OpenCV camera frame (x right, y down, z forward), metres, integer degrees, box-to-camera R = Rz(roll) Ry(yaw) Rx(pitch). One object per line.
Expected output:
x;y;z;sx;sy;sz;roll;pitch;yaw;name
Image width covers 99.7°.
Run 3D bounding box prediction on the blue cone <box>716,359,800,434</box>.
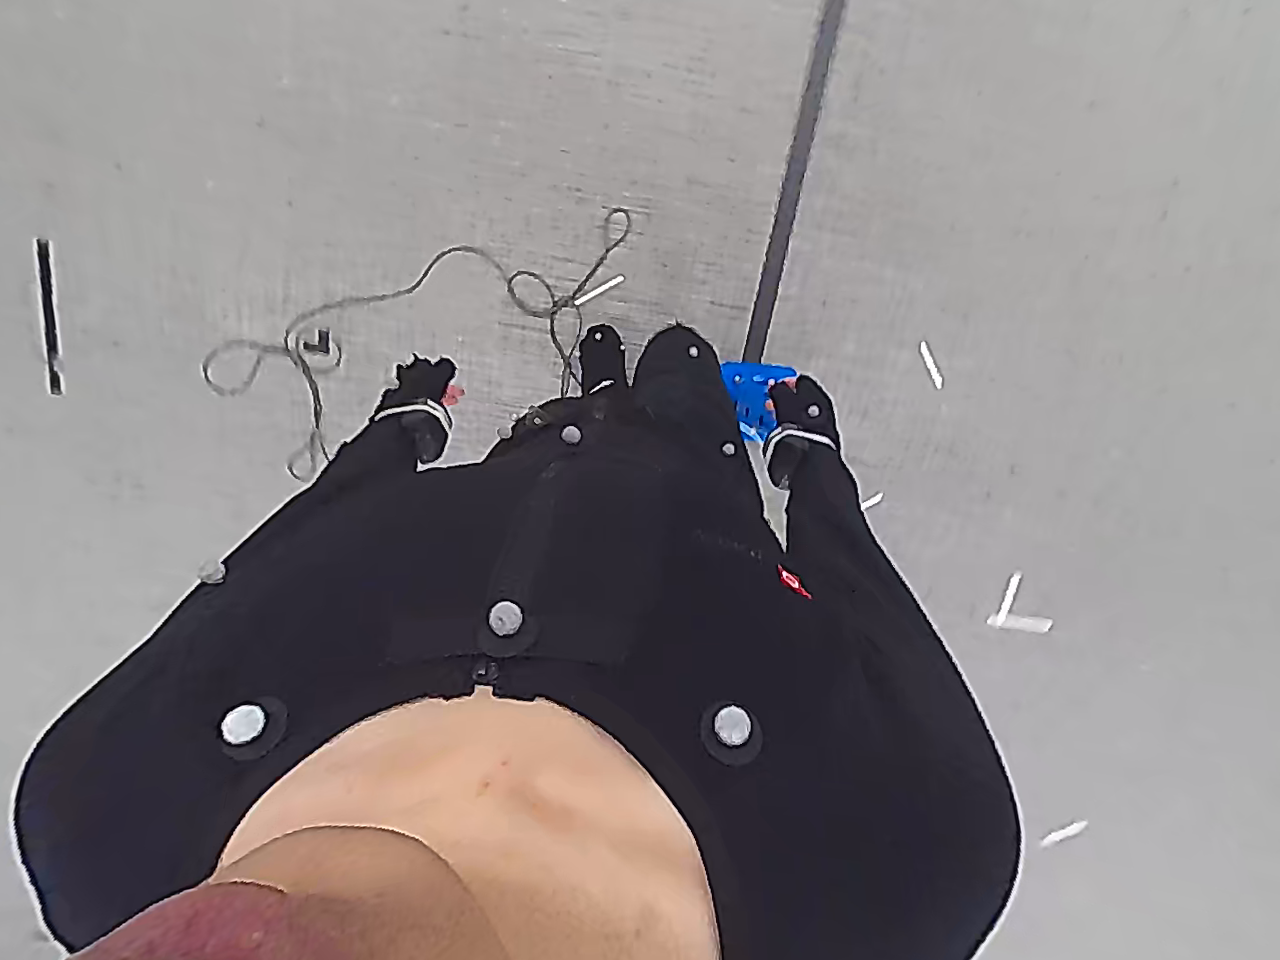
0.293;-0.170;1.244;0.192;0.380;0.193;6;106;0;blue cone
